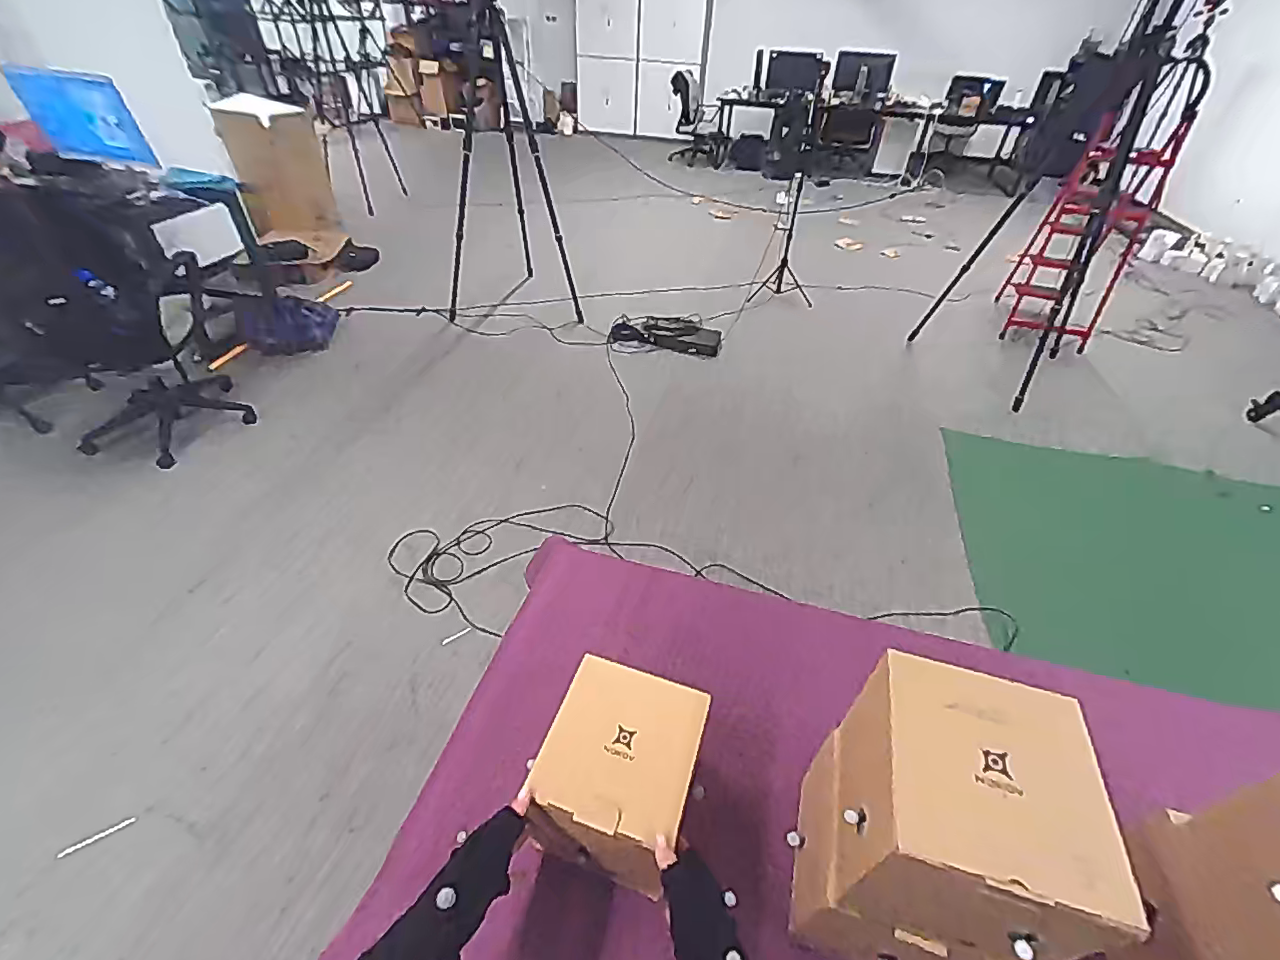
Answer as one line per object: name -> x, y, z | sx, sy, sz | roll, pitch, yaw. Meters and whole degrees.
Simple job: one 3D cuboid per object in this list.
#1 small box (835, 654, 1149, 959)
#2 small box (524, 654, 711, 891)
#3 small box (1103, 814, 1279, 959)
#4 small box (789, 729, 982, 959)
small box -> 0.282, 0.295, 0.484 | 0.168, 0.176, 0.179 | 14, 42, 11
small box -> -0.023, 0.350, 0.652 | 0.168, 0.176, 0.179 | 15, 43, 12
small box -> 0.600, 0.480, 0.539 | 0.168, 0.176, 0.179 | 16, 43, 12
small box -> 0.268, 0.417, 0.593 | 0.168, 0.176, 0.179 | 15, 43, 12
